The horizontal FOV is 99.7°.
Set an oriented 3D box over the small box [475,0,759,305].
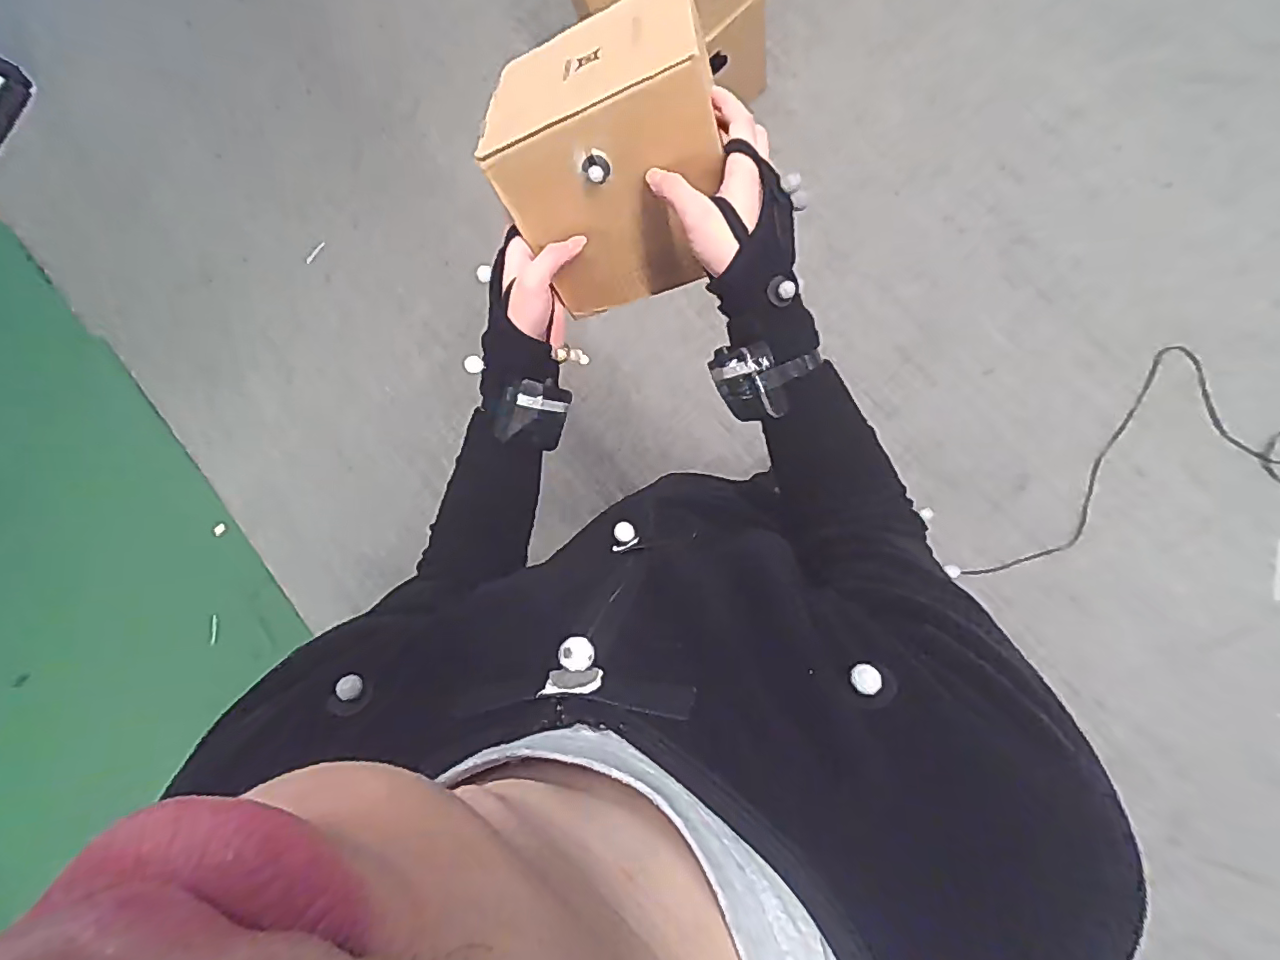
[{"bbox_3d":[-0.009,-0.279,0.461,0.179,0.176,0.168,-13,55,16],"label":"small box"}]
